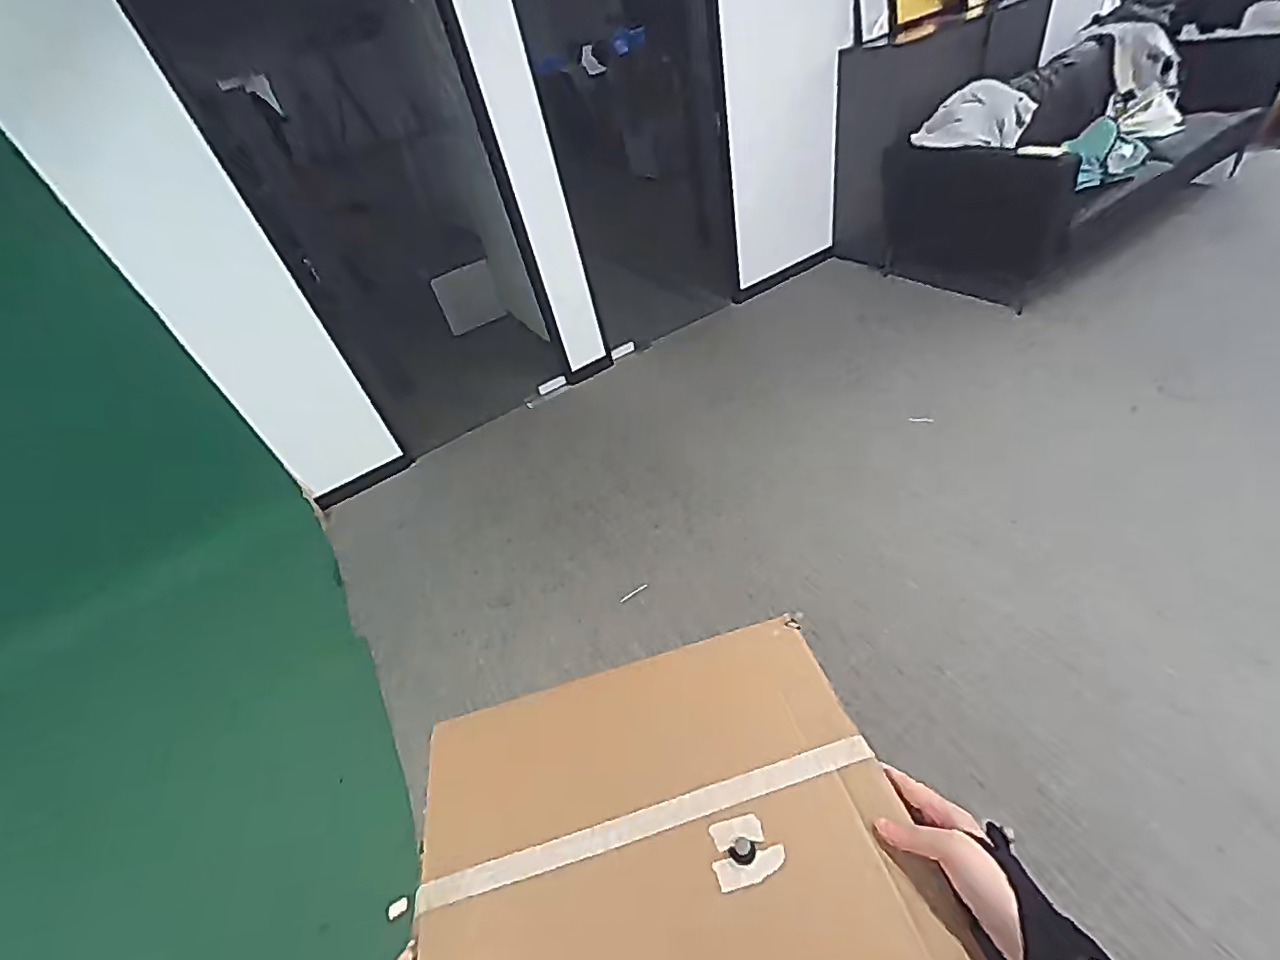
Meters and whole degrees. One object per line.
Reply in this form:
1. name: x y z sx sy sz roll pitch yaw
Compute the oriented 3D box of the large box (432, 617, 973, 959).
1. large box: 0.036 0.410 0.571 0.408 0.320 0.320 -14 39 -6
